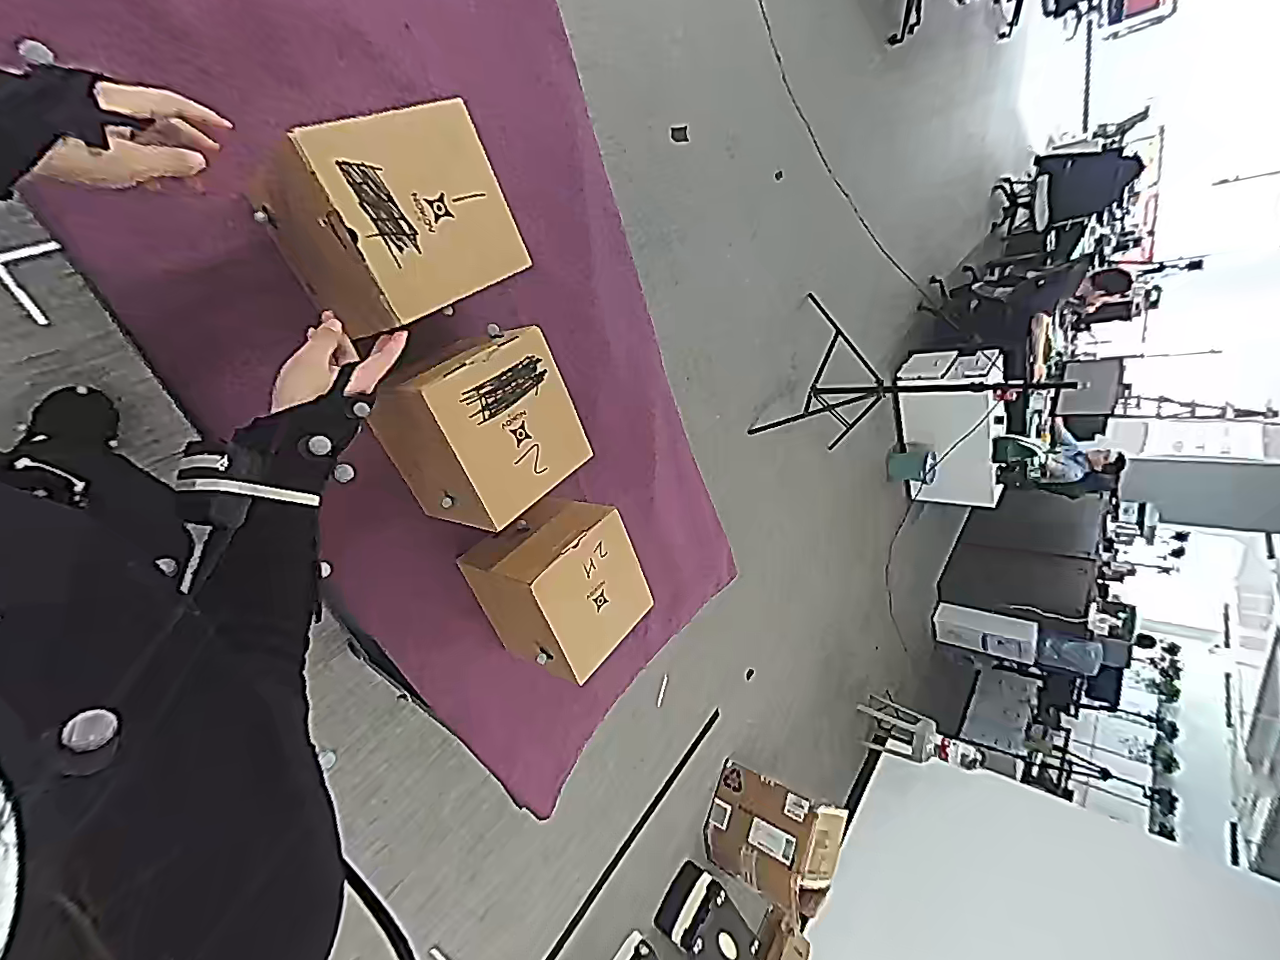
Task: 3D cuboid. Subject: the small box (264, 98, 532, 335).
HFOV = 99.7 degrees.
[{"bbox_3d":[-0.255,-0.265,0.567,0.179,0.176,0.168,-44,125,-36],"label":"small box"}]
